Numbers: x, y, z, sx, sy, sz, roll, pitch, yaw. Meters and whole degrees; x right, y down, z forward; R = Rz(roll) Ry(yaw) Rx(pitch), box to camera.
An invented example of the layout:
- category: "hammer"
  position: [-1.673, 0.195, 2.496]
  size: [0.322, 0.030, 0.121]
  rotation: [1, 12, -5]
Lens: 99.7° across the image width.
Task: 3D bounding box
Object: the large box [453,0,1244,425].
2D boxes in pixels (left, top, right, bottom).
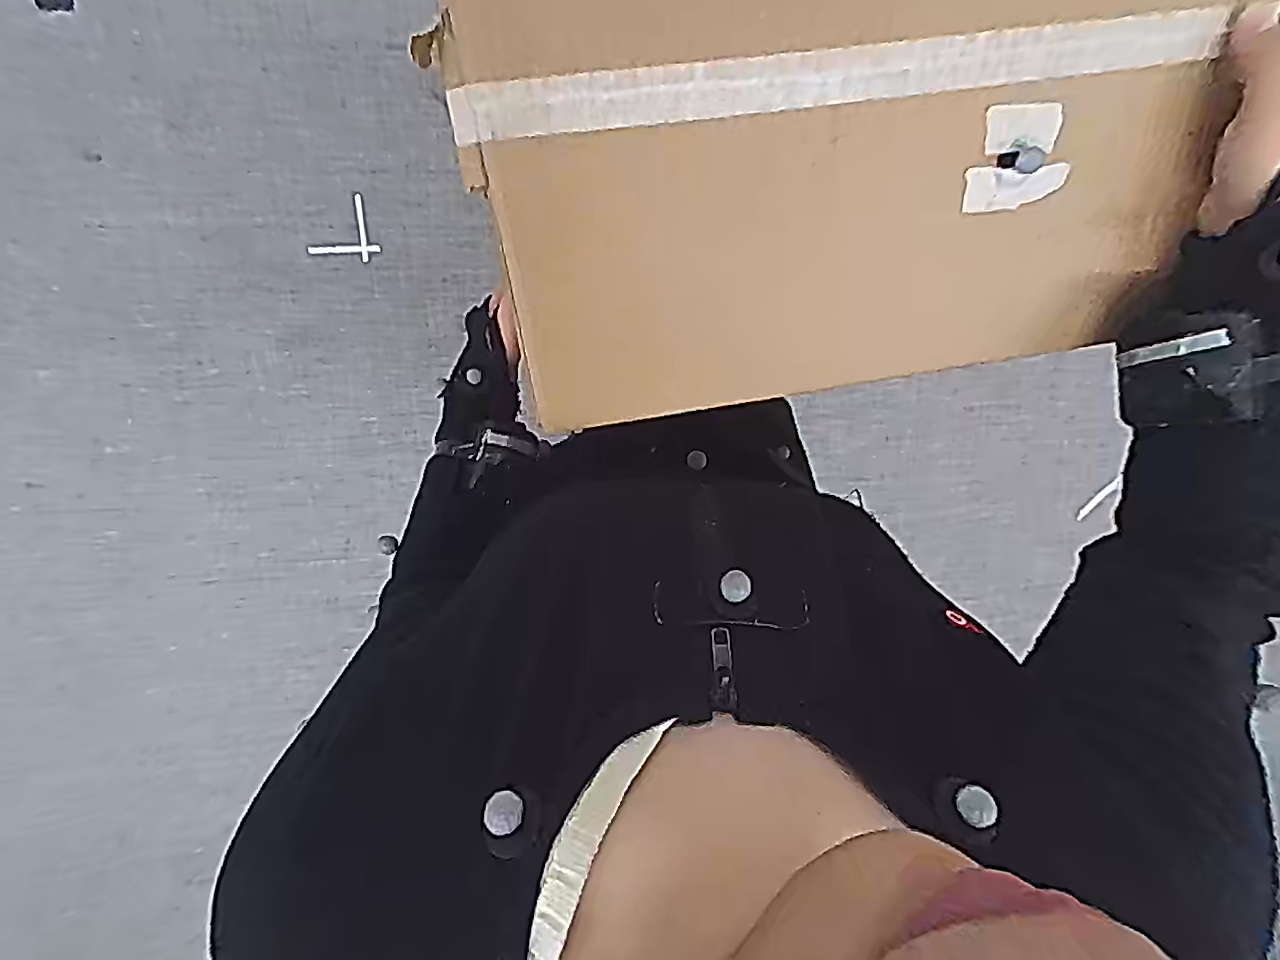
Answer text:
- category: "large box"
  position: [0.092, -0.269, 0.398]
  size: [0.408, 0.320, 0.320]
  rotation: [-11, 120, -7]
